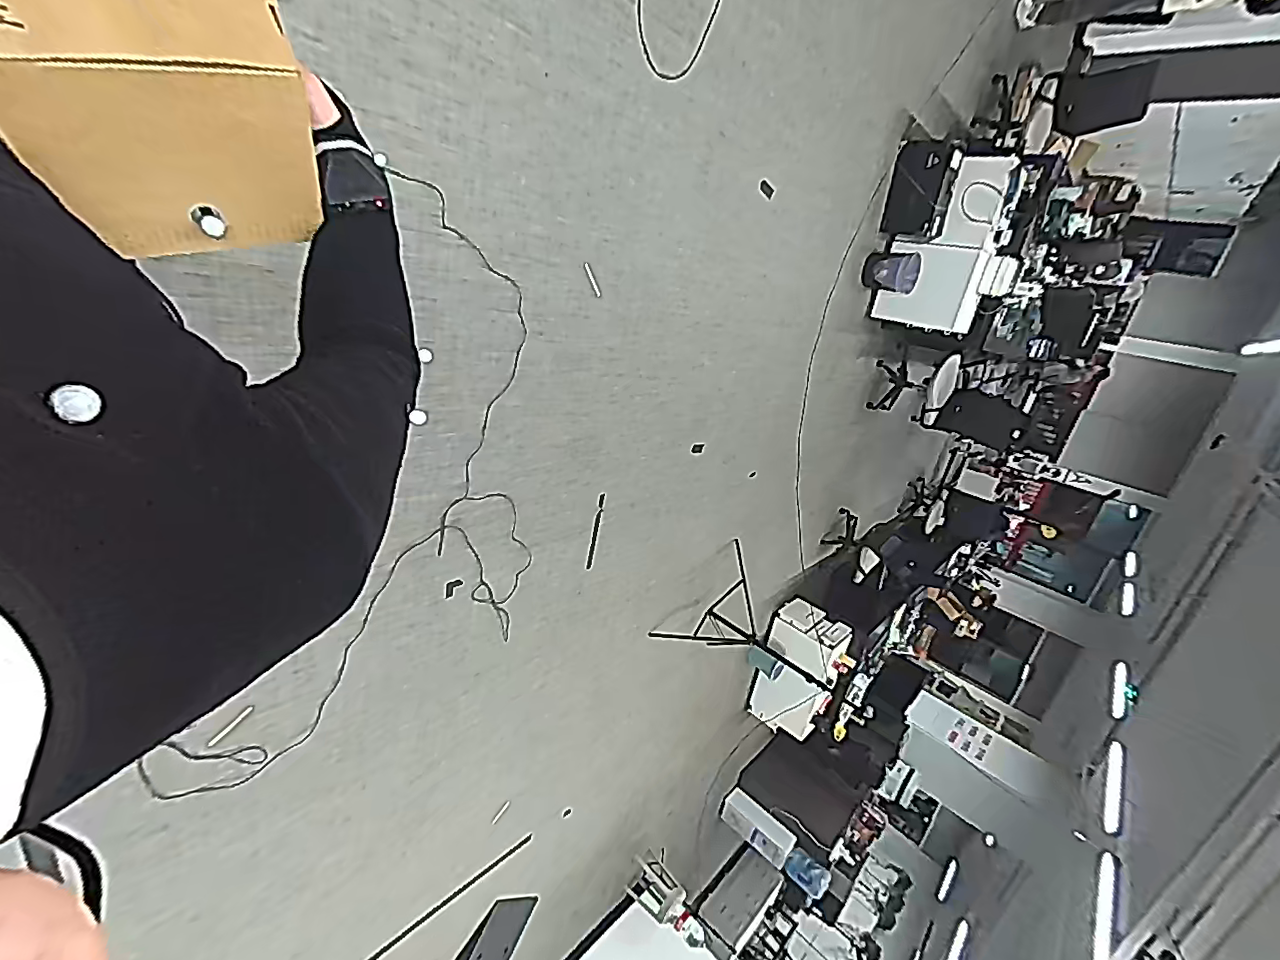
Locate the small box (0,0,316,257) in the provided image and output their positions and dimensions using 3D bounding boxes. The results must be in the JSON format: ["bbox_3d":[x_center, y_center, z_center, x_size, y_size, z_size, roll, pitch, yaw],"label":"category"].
[{"bbox_3d":[-0.379,-0.305,0.429,0.179,0.168,0.176,-22,171,-30],"label":"small box"}]
